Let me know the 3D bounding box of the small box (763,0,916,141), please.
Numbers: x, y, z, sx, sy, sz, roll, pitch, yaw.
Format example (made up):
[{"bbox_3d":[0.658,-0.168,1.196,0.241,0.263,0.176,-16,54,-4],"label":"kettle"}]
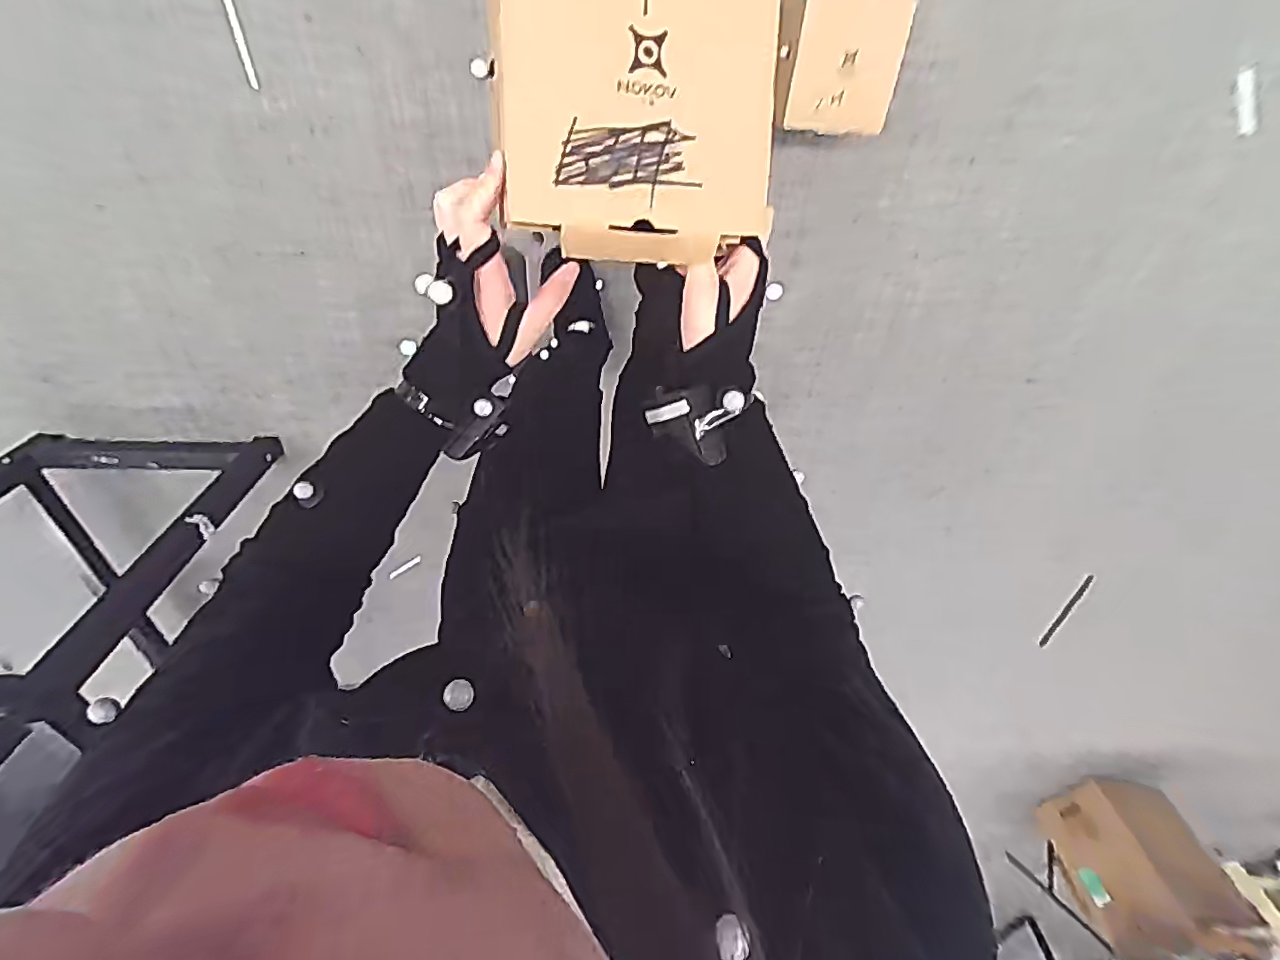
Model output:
[{"bbox_3d":[0.311,-0.676,0.892,0.168,0.176,0.179,2,127,-5],"label":"small box"}]

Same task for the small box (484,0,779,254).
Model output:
[{"bbox_3d":[-0.022,-0.263,0.381,0.168,0.176,0.179,-3,115,-15],"label":"small box"}]
